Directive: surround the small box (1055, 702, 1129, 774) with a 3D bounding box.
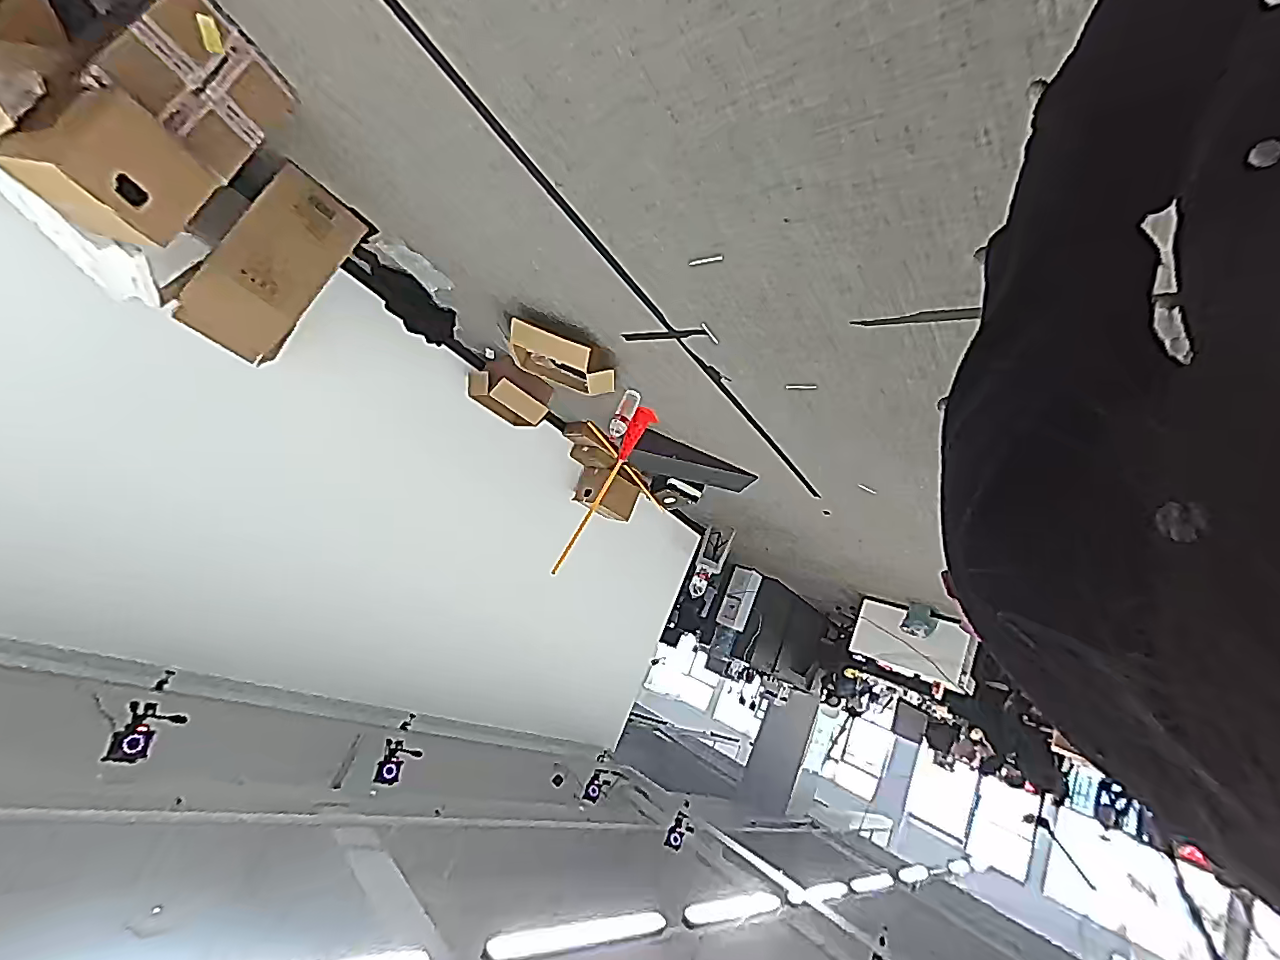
[{"bbox_3d":[1.568,0.893,1.879,0.179,0.176,0.168,11,160,39],"label":"small box"}]
